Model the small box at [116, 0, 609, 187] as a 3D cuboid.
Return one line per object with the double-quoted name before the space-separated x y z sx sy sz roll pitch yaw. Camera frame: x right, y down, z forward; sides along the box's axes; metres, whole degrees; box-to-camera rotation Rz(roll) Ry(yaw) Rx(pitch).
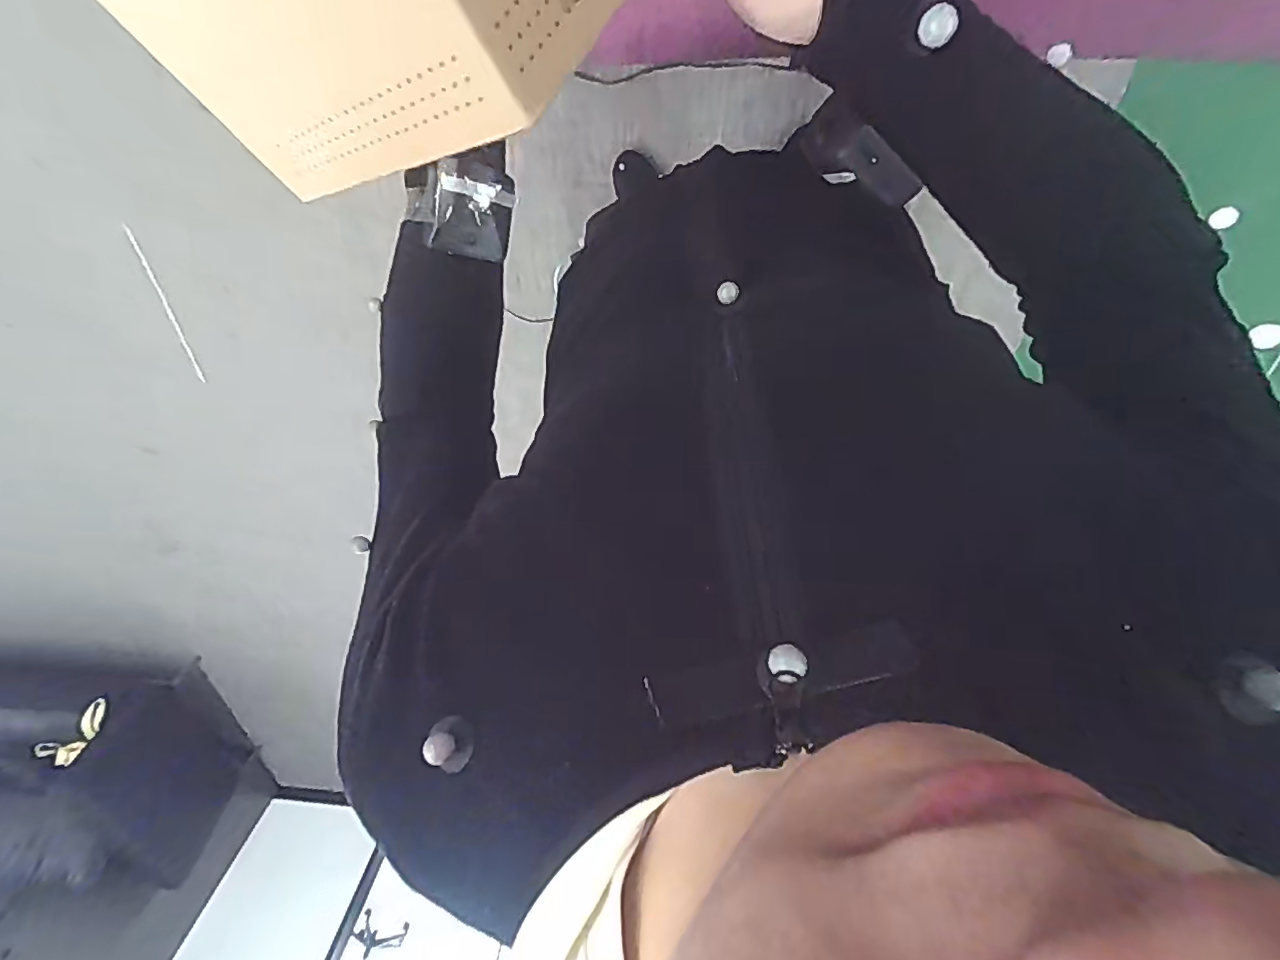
"small box" -0.108 -0.245 0.201 0.179 0.168 0.176 9 155 34
